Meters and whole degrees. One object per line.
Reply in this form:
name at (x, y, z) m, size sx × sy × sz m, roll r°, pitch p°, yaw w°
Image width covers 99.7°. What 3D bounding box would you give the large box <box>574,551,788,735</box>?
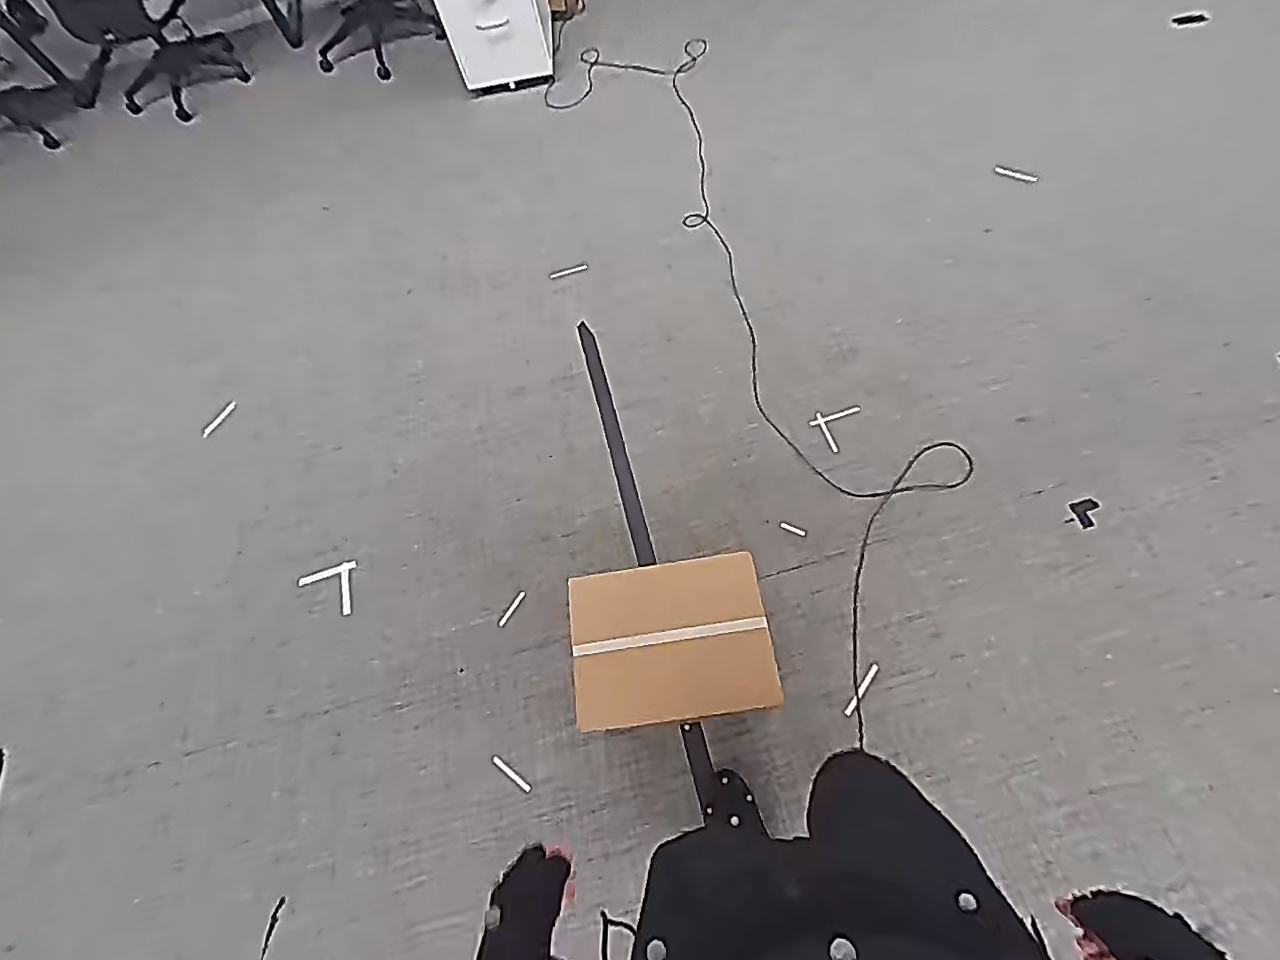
large box at (0.087, 0.386, 1.236) m, size 0.408 × 0.320 × 0.320 m, roll -10°, pitch 65°, yaw 4°
